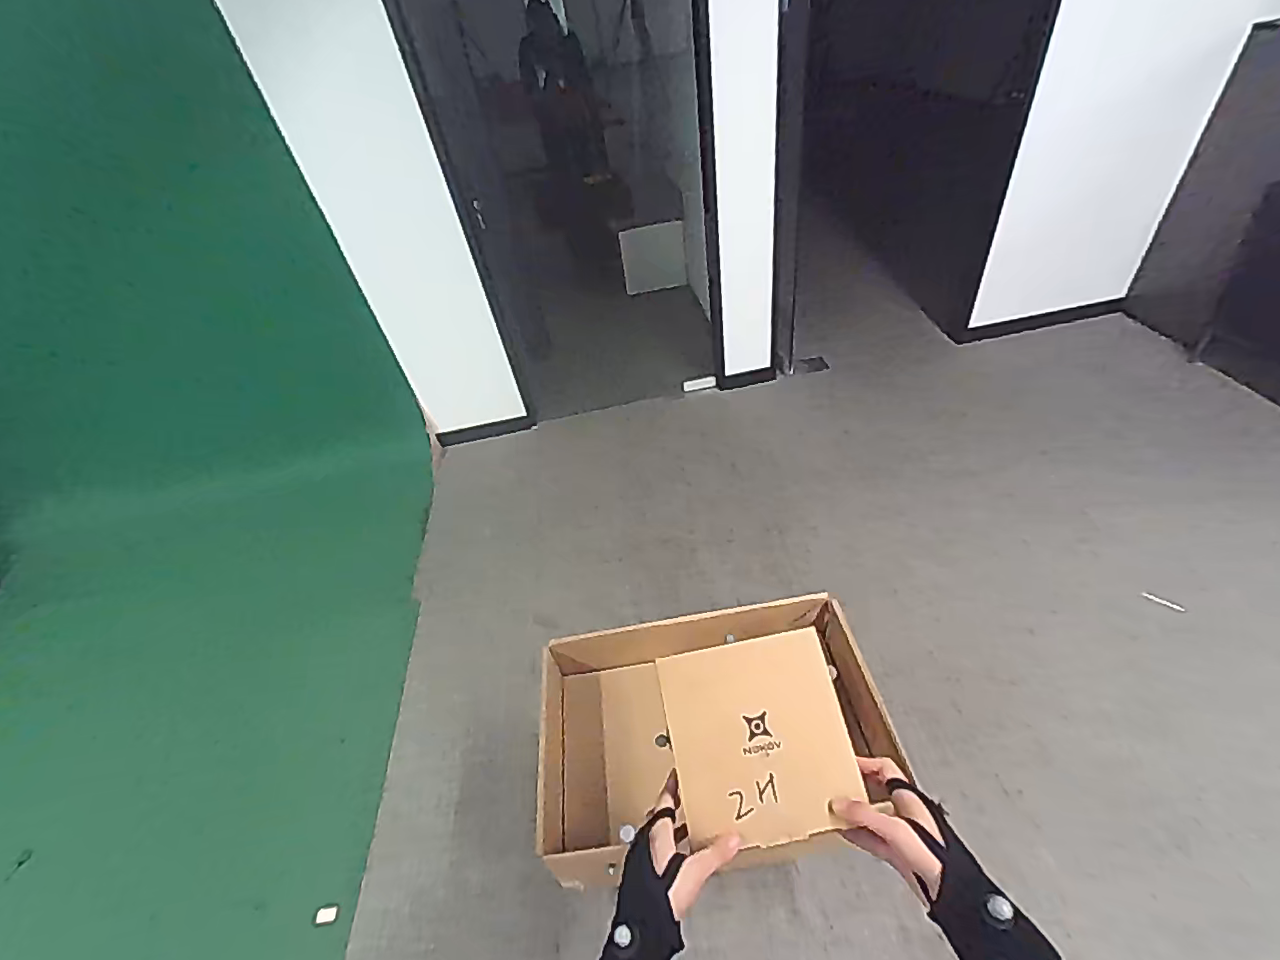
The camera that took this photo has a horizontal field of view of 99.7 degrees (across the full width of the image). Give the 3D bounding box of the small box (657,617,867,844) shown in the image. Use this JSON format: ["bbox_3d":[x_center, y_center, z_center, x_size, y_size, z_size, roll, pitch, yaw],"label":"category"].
[{"bbox_3d":[0.112,0.260,0.581,0.168,0.176,0.179,-10,67,0],"label":"small box"}]
